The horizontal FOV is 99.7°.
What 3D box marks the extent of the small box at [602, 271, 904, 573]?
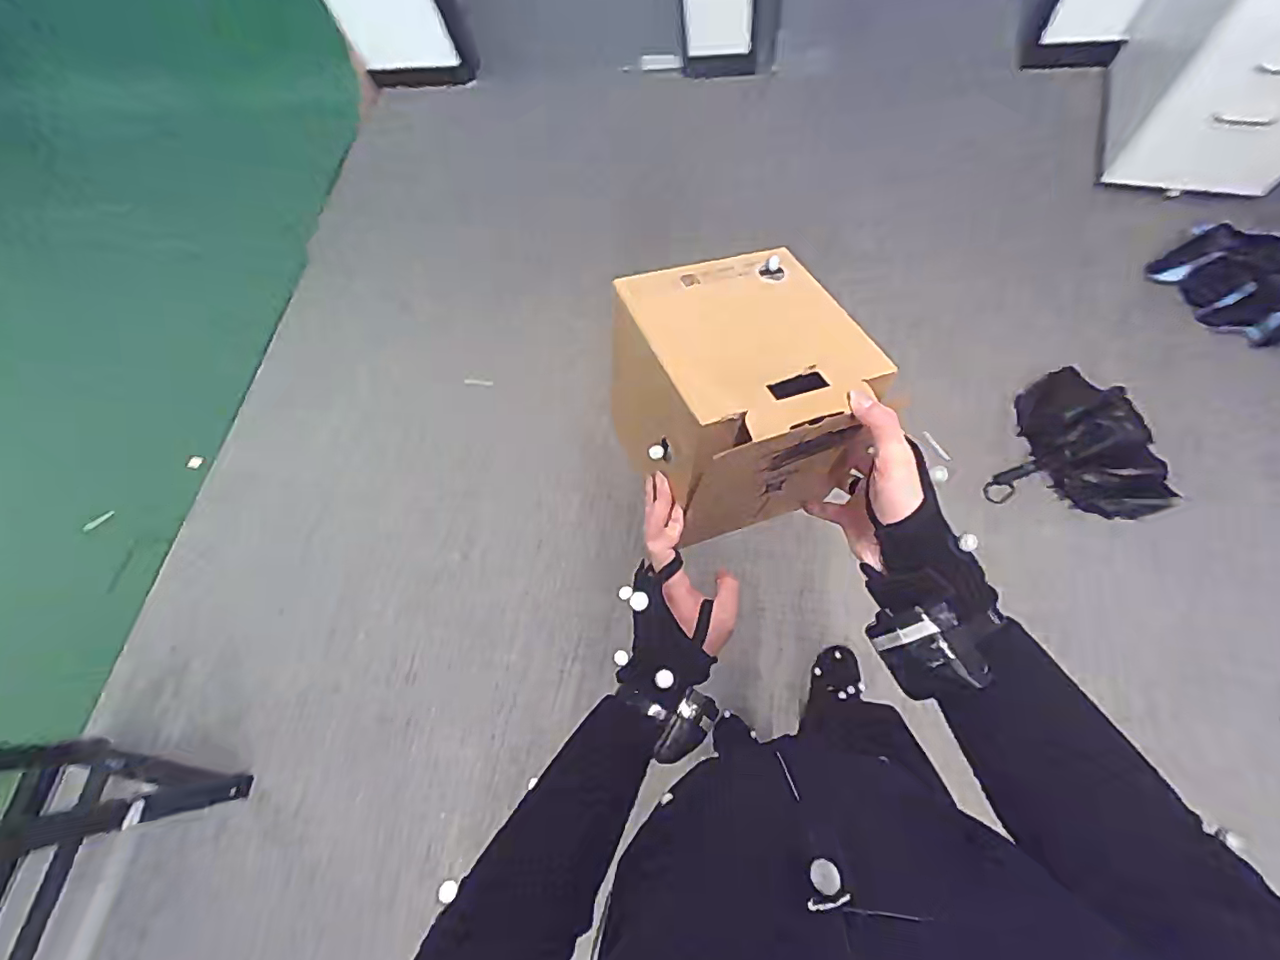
[{"bbox_3d":[0.072,-0.054,0.457,0.168,0.179,0.176,-18,59,-15],"label":"small box"}]
